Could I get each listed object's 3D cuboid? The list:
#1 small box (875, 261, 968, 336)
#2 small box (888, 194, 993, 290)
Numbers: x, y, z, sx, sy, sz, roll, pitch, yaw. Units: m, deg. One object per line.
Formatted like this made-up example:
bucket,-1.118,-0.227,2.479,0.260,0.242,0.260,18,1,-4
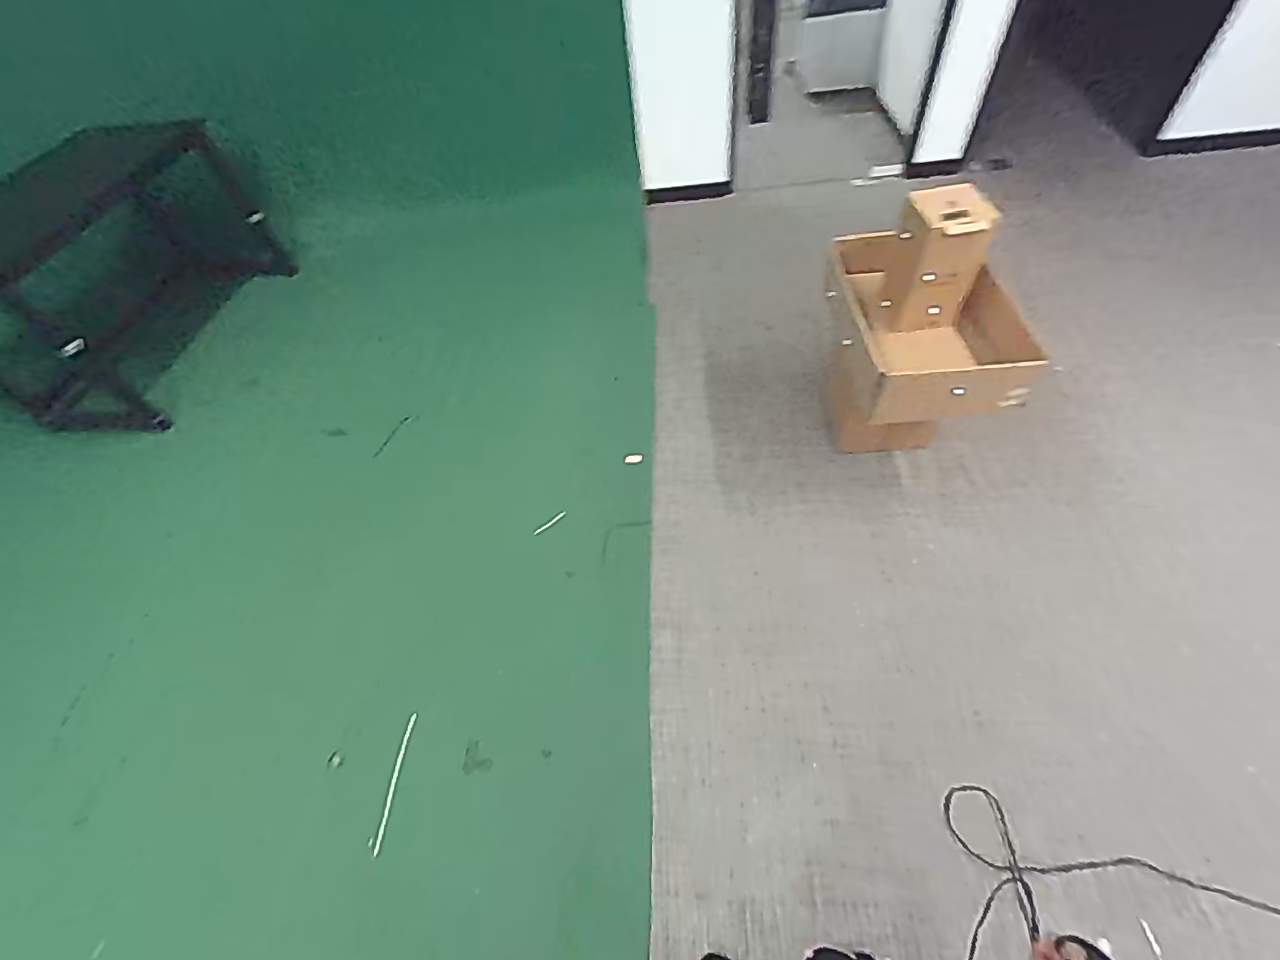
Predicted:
small box,0.811,-0.537,1.575,0.168,0.176,0.179,-6,56,2
small box,0.788,-0.624,1.438,0.168,0.176,0.179,-8,54,1
